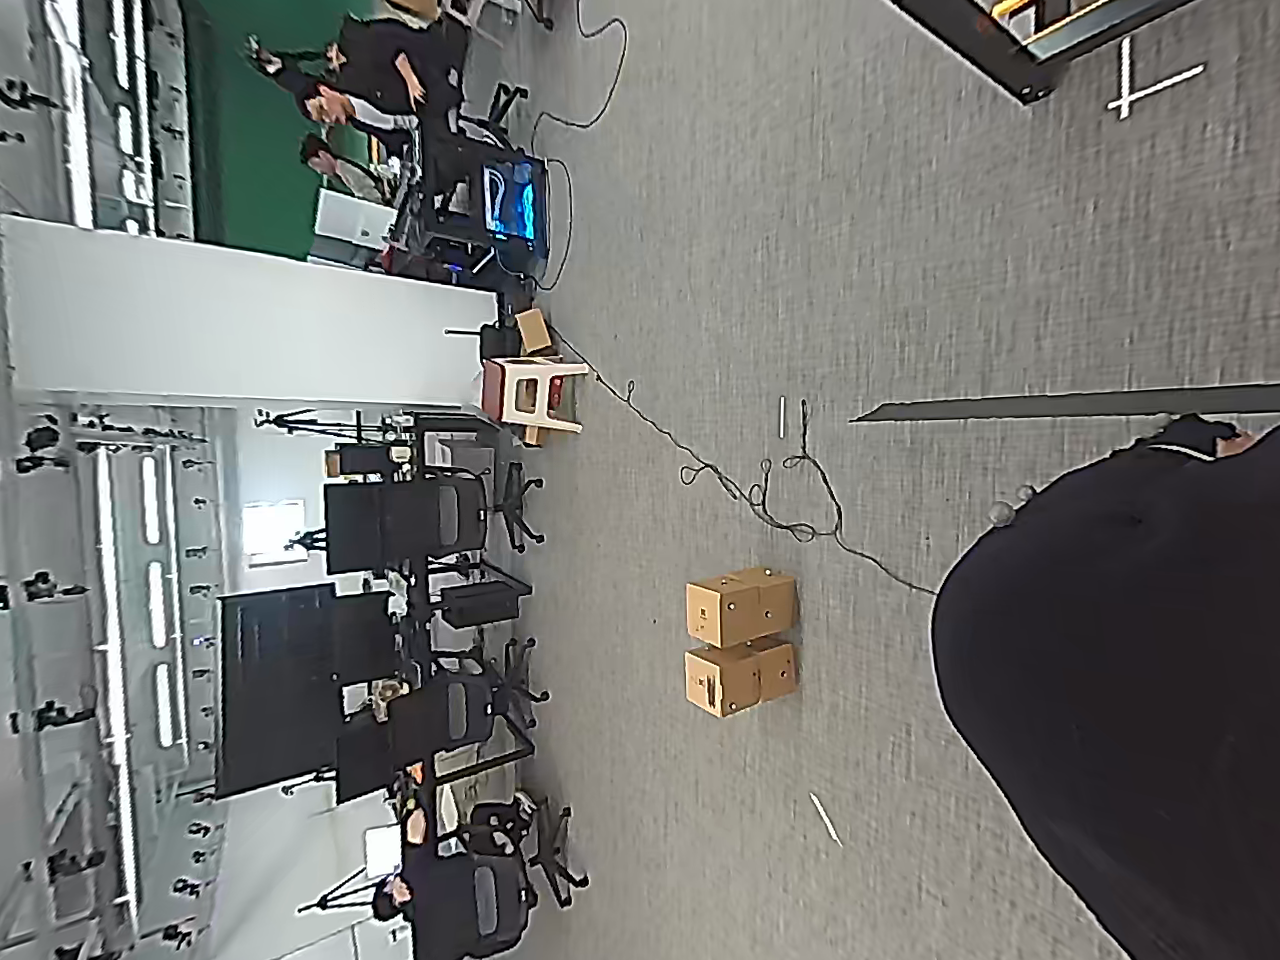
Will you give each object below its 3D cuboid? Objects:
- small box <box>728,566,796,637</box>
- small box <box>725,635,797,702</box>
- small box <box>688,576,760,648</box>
[{"bbox_3d":[0.410,0.407,1.841,0.168,0.176,0.179,15,105,55],"label":"small box"},{"bbox_3d":[0.416,0.640,1.860,0.179,0.176,0.168,-7,87,56],"label":"small box"},{"bbox_3d":[0.273,0.418,1.750,0.168,0.176,0.179,5,98,57],"label":"small box"}]
